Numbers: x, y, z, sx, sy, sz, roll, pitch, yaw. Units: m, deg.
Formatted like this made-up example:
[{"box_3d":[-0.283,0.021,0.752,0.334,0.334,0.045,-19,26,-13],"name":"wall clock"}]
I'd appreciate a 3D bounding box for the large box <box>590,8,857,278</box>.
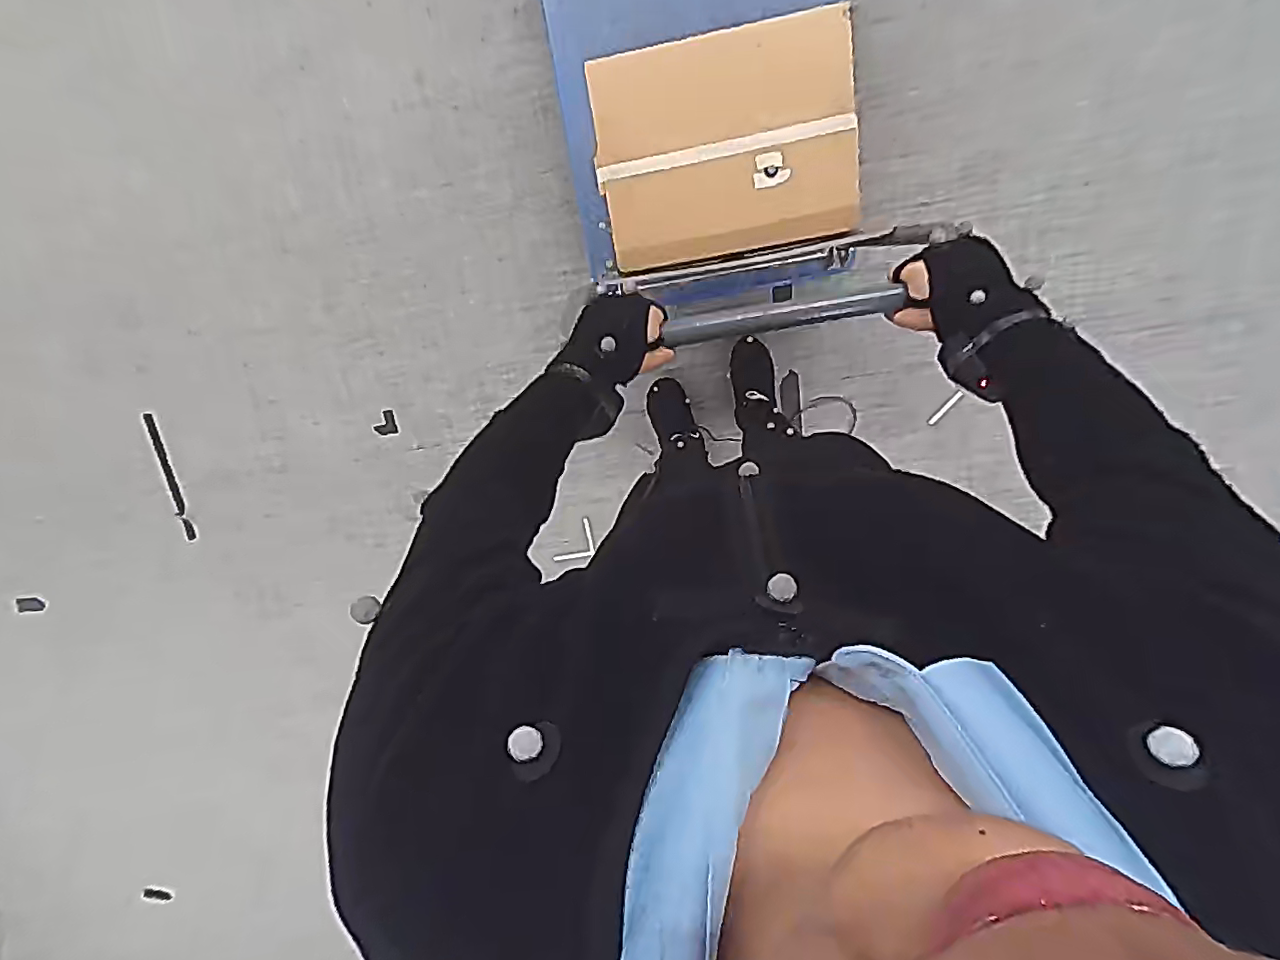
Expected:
[{"box_3d":[0.147,-0.583,1.018,0.408,0.320,0.320,-9,109,6],"name":"large box"}]
